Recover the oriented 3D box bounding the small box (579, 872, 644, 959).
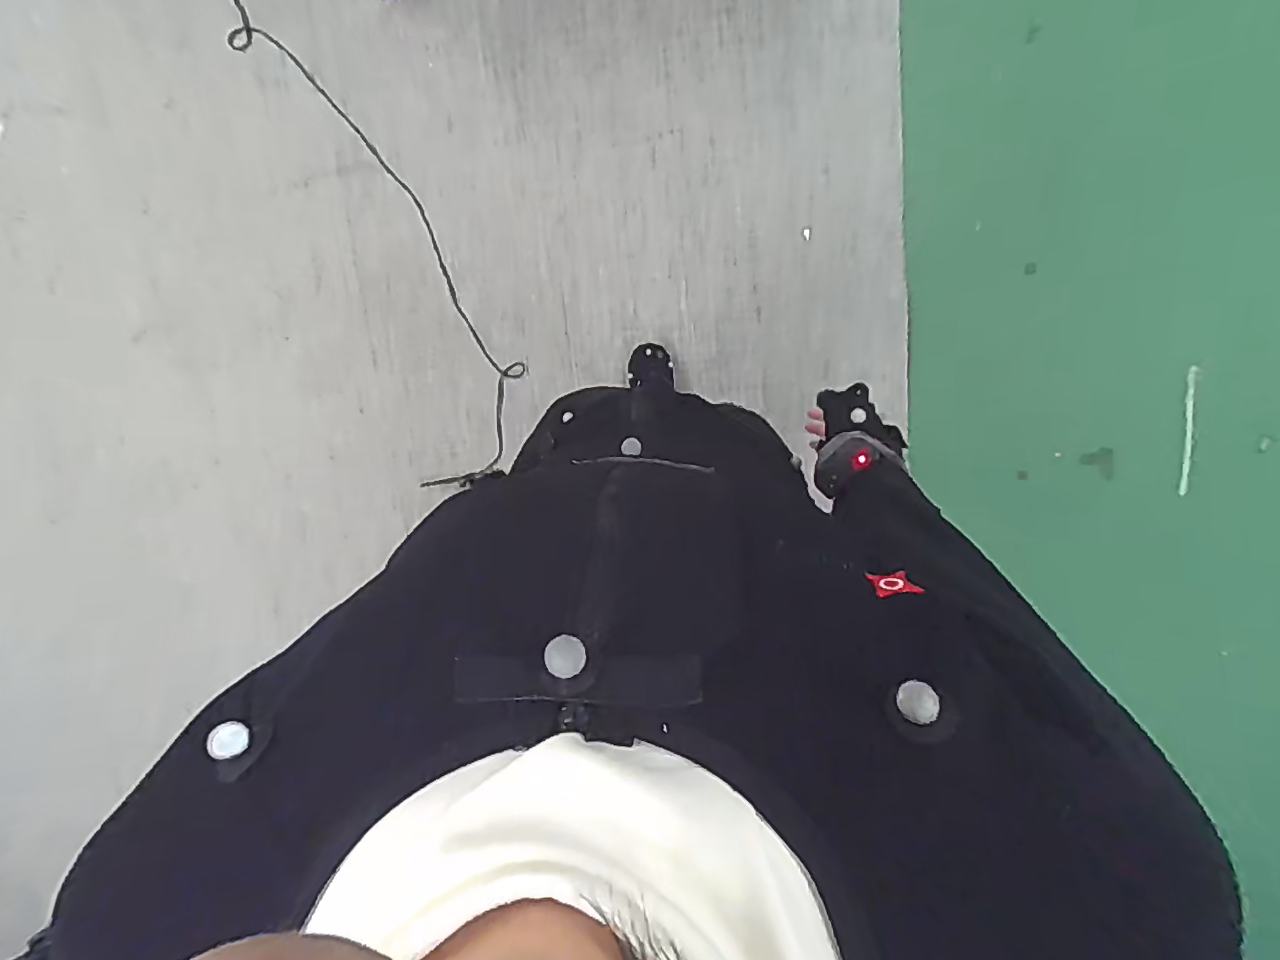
[{"bbox_3d":[-0.078,1.293,1.590,0.179,0.176,0.168,0,101,2],"label":"small box"}]
